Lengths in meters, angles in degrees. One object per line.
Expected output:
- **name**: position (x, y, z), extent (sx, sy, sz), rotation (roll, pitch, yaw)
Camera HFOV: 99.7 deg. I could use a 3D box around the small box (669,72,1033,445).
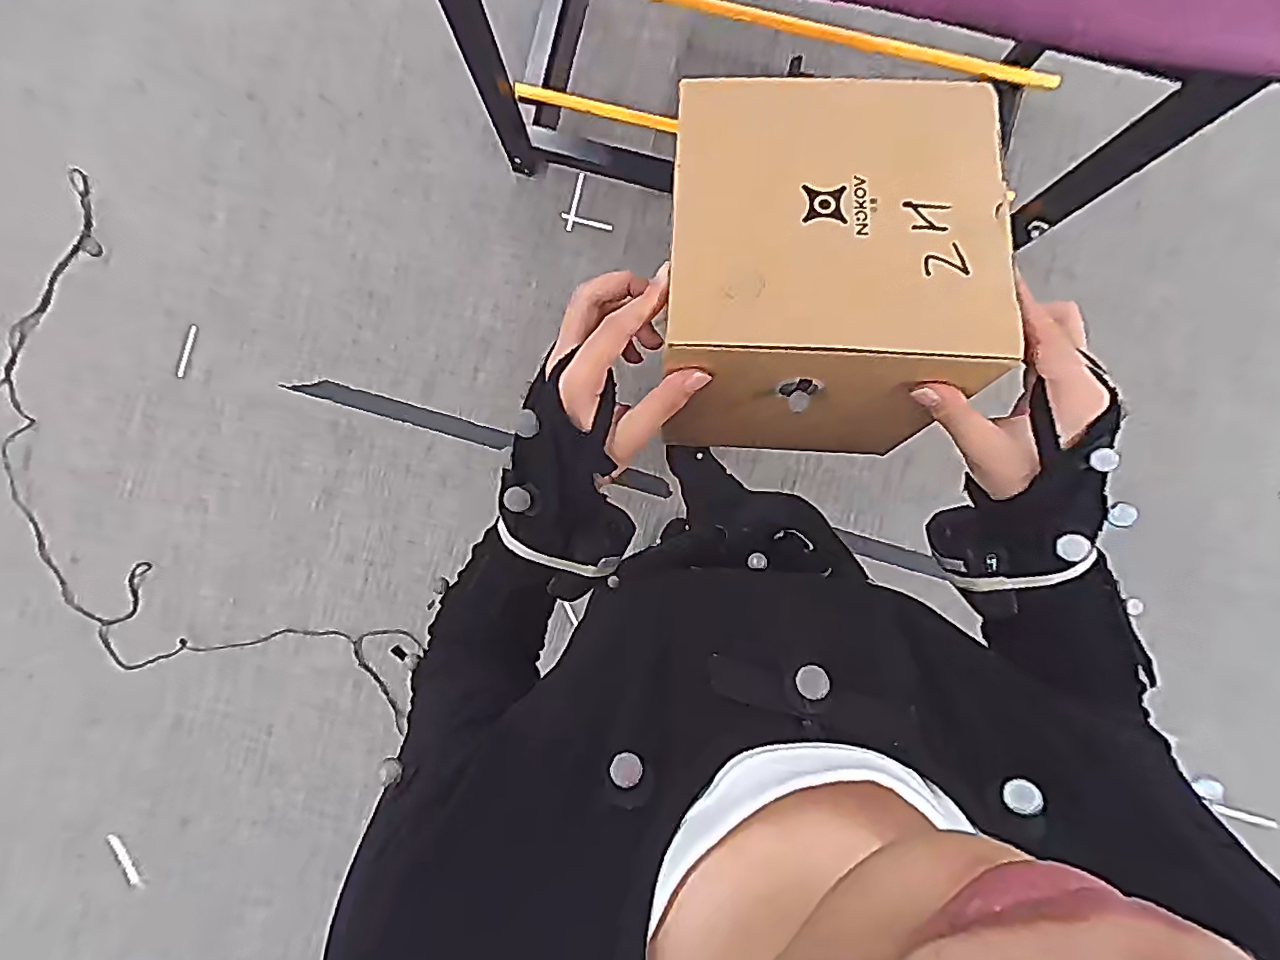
- **small box**: position (0.111, -0.126, 0.359), extent (0.179, 0.176, 0.168), rotation (3, 77, 3)
